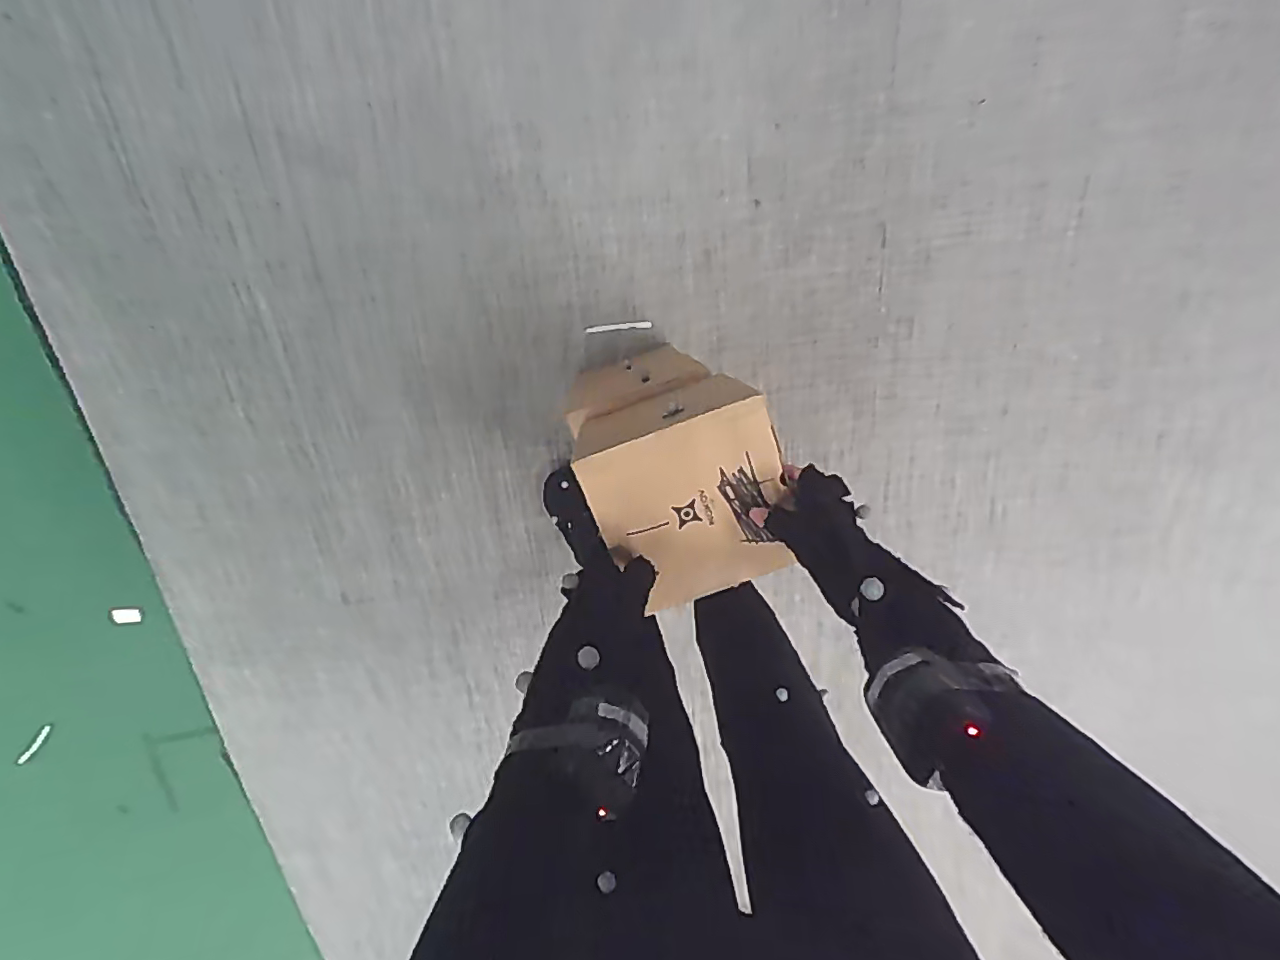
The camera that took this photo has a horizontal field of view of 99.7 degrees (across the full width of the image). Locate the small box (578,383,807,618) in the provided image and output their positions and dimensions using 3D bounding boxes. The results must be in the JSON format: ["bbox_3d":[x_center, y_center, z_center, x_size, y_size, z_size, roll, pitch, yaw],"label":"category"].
[{"bbox_3d":[0.047,0.008,0.563,0.179,0.176,0.168,-19,107,4],"label":"small box"}]

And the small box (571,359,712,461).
[{"bbox_3d":[0.018,-0.051,0.725,0.179,0.176,0.168,-20,111,3],"label":"small box"}]

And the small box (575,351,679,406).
[{"bbox_3d":[0.004,-0.102,0.878,0.179,0.176,0.168,-18,109,3],"label":"small box"}]
